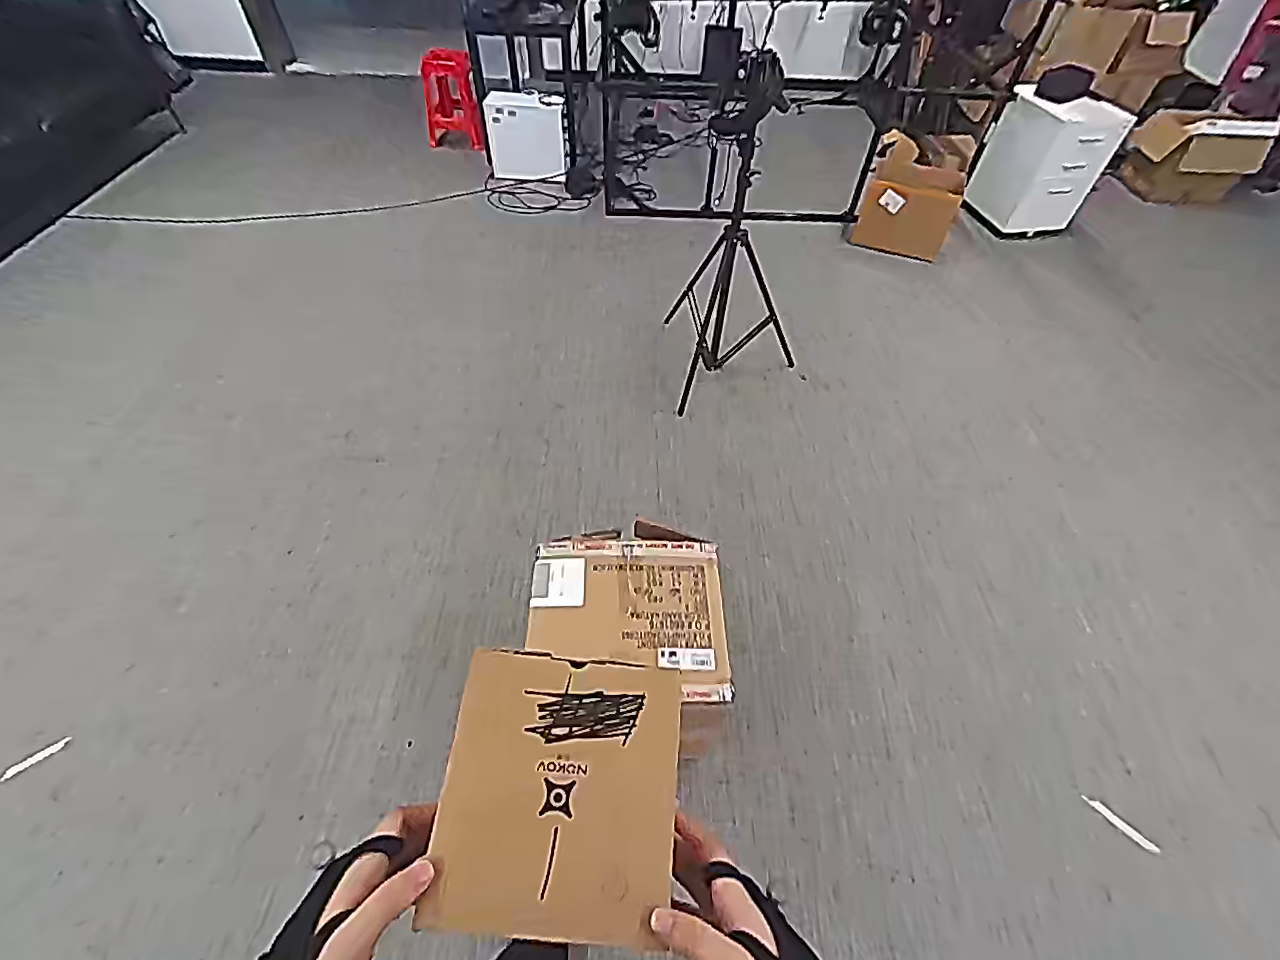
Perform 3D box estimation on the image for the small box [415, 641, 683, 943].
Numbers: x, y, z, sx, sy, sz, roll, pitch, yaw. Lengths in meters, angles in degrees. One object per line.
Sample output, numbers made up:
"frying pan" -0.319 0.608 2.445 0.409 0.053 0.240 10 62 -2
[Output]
"small box" -0.062 0.249 0.453 0.168 0.176 0.179 7 61 -2
